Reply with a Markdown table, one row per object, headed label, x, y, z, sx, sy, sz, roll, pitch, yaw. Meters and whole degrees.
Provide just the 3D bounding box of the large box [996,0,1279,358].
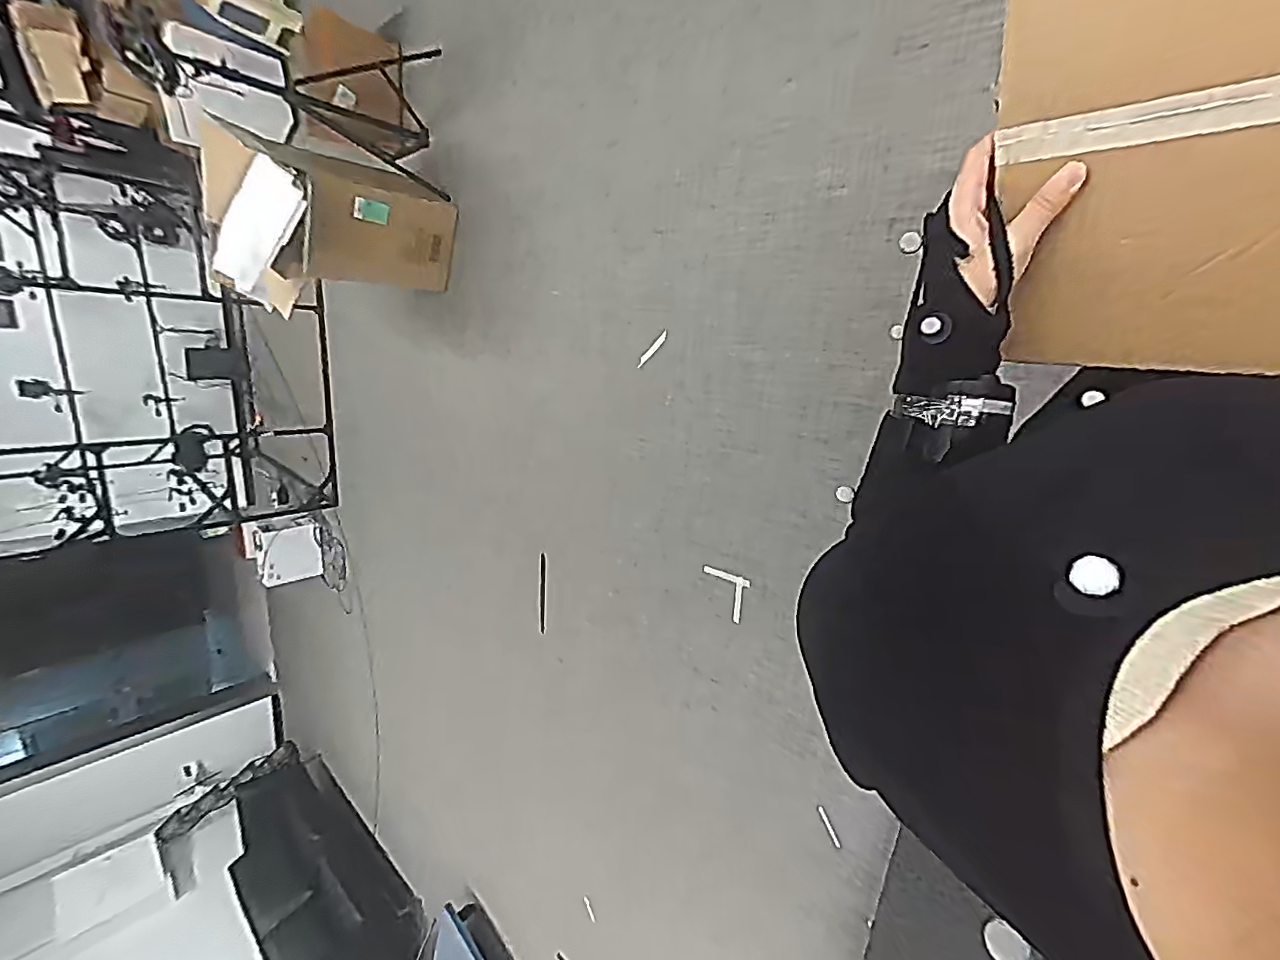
| label | x | y | z | sx | sy | sz | roll | pitch | yaw |
| --- | --- | --- | --- | --- | --- | --- | --- | --- | --- |
| large box | 0.479 | -0.276 | 0.308 | 0.408 | 0.320 | 0.320 | 14 | 137 | 42 |
